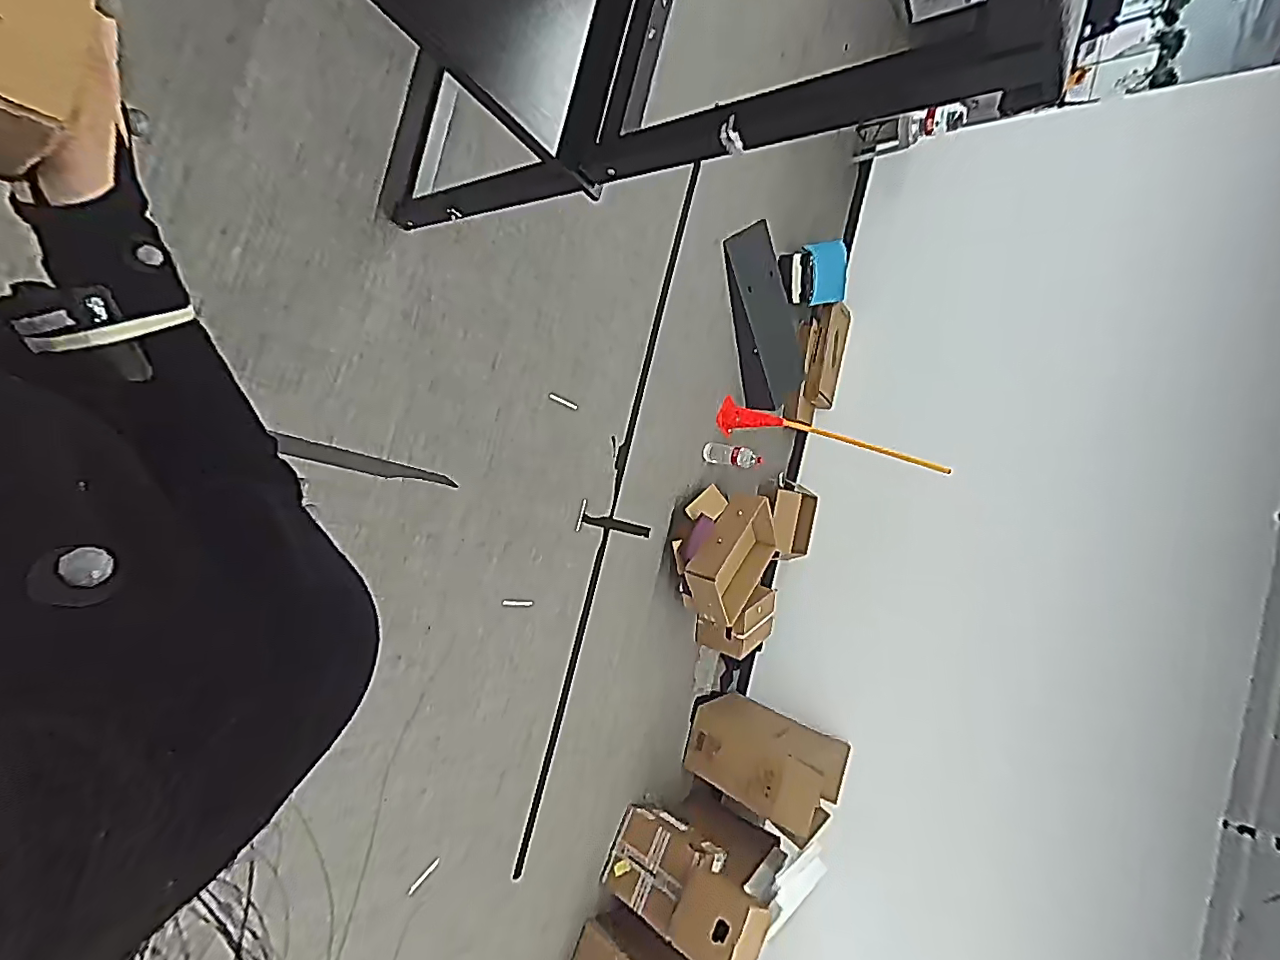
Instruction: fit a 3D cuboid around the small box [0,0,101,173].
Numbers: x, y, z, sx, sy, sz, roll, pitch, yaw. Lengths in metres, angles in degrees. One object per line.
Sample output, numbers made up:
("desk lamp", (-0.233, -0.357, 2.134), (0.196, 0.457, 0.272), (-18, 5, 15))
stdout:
("small box", (-0.322, -0.247, 0.200), (0.168, 0.176, 0.179), (11, 91, -56))
